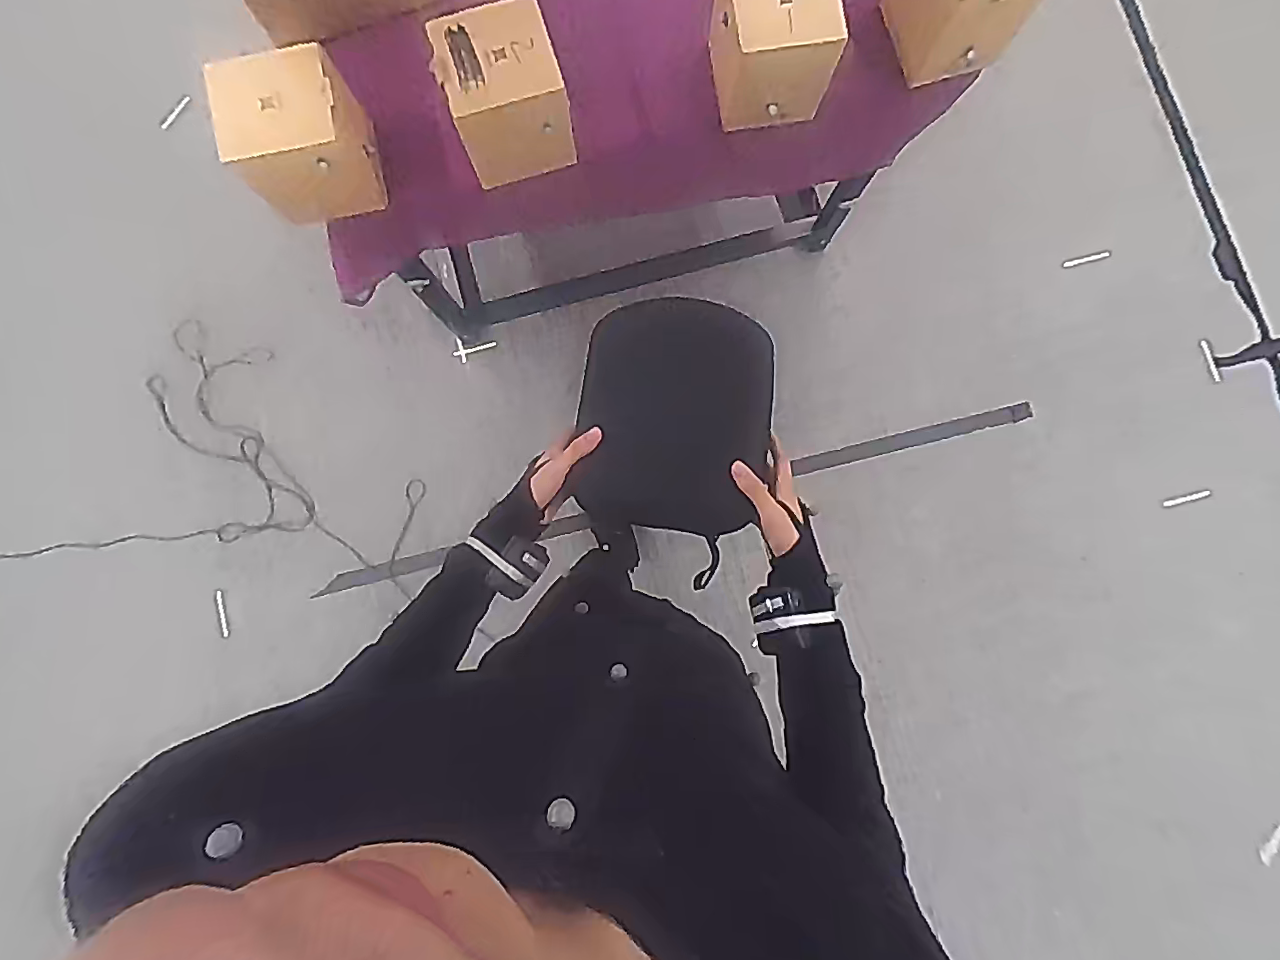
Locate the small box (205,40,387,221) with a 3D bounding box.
[{"bbox_3d":[-0.544,-0.551,0.876,0.179,0.176,0.168,-13,85,-2],"label":"small box"}]

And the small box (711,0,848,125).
[{"bbox_3d":[0.218,-0.734,0.892,0.168,0.176,0.179,-9,87,-1],"label":"small box"}]

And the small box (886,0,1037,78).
[{"bbox_3d":[0.538,-0.828,0.899,0.168,0.176,0.179,-16,85,0],"label":"small box"}]
